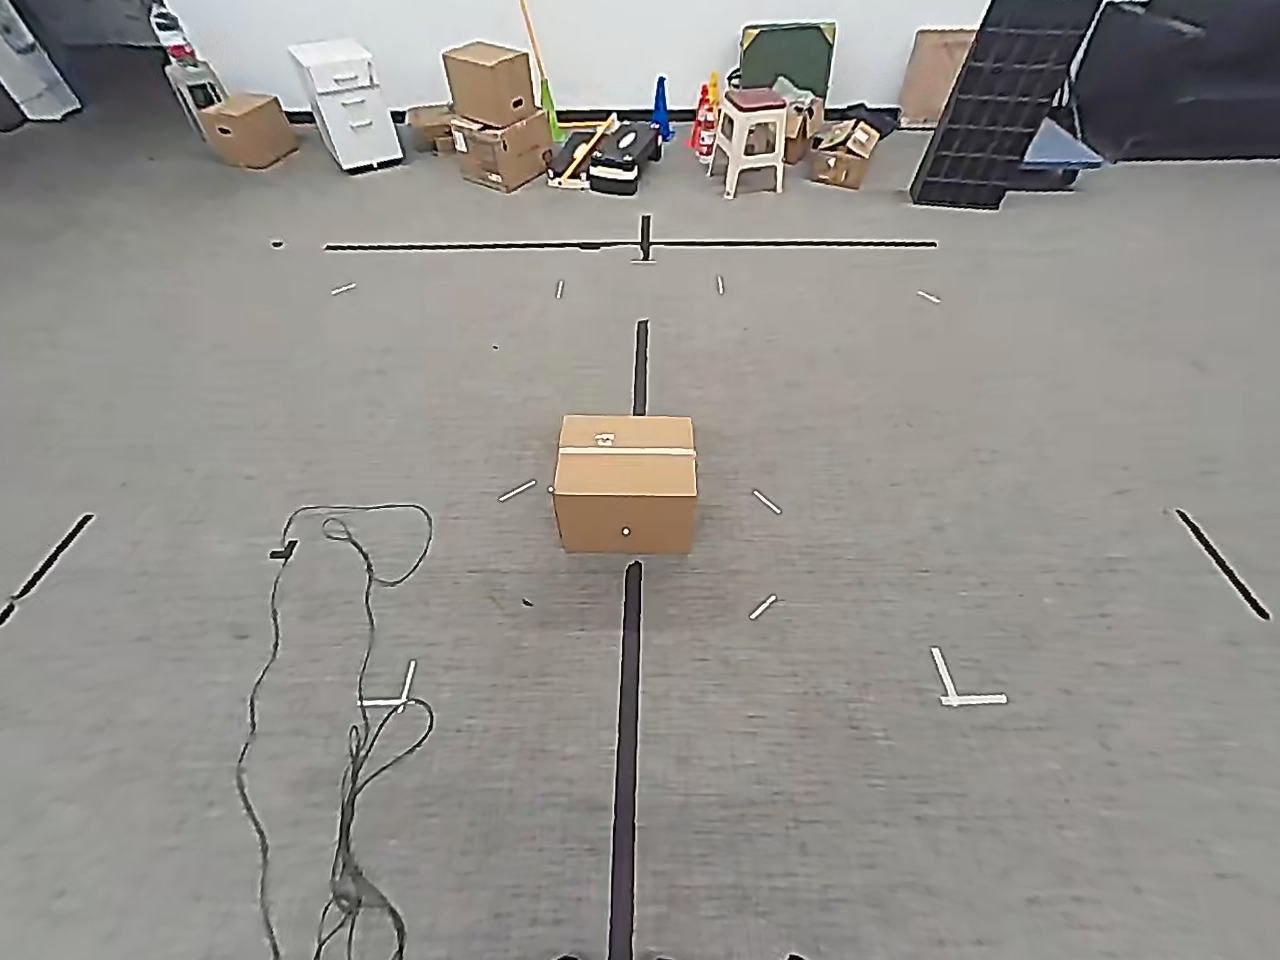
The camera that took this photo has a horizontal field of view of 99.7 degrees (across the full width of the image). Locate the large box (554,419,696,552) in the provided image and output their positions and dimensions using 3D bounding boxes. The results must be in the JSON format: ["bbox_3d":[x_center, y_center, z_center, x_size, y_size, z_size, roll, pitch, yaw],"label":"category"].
[{"bbox_3d":[-0.037,0.020,1.717,0.408,0.320,0.320,0,51,1],"label":"large box"}]
